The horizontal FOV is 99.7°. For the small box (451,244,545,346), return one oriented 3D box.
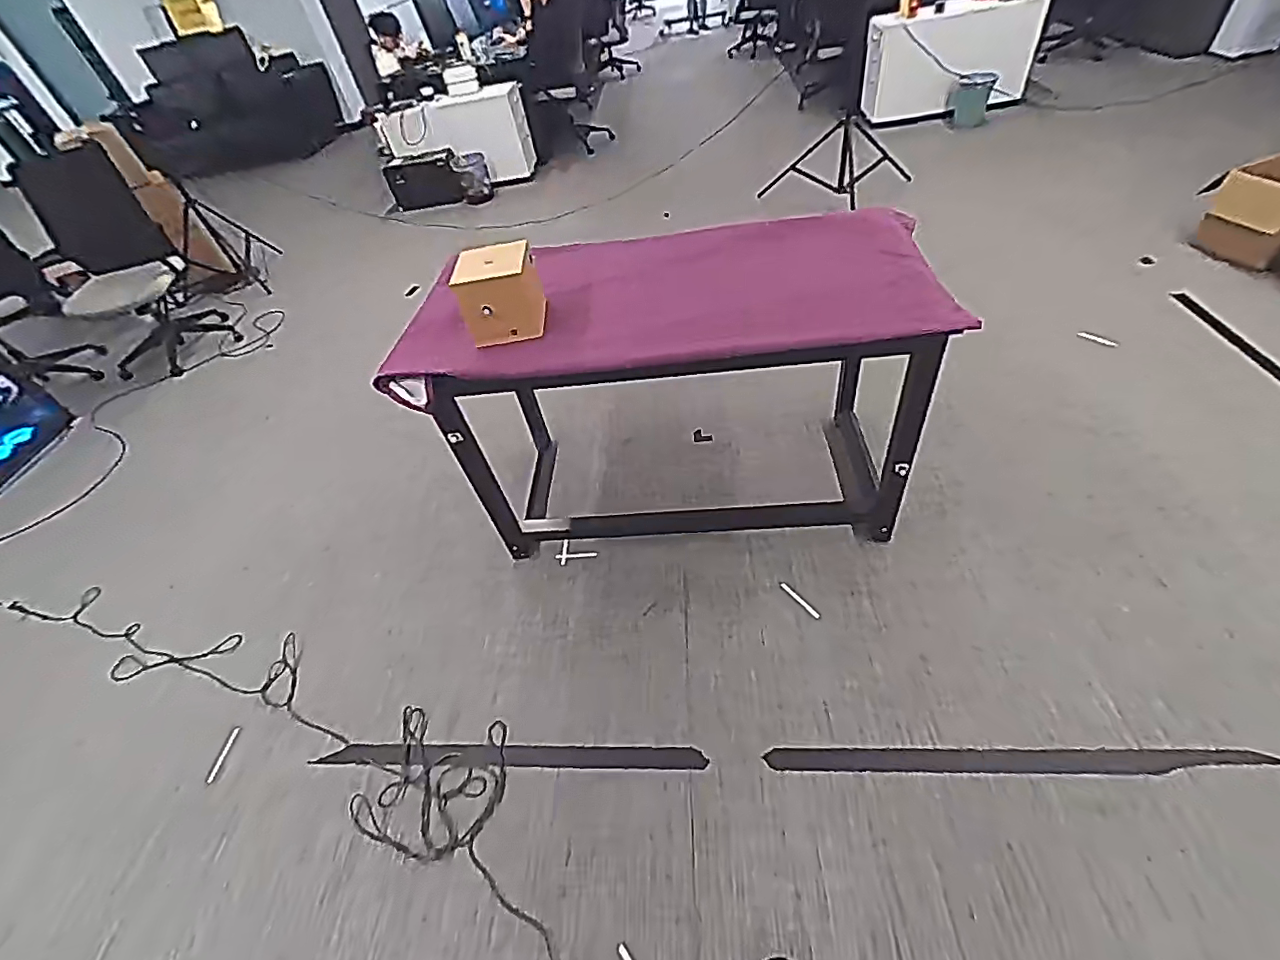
[{"bbox_3d":[-0.332,-0.438,1.301,0.168,0.176,0.179,-9,46,3],"label":"small box"}]
